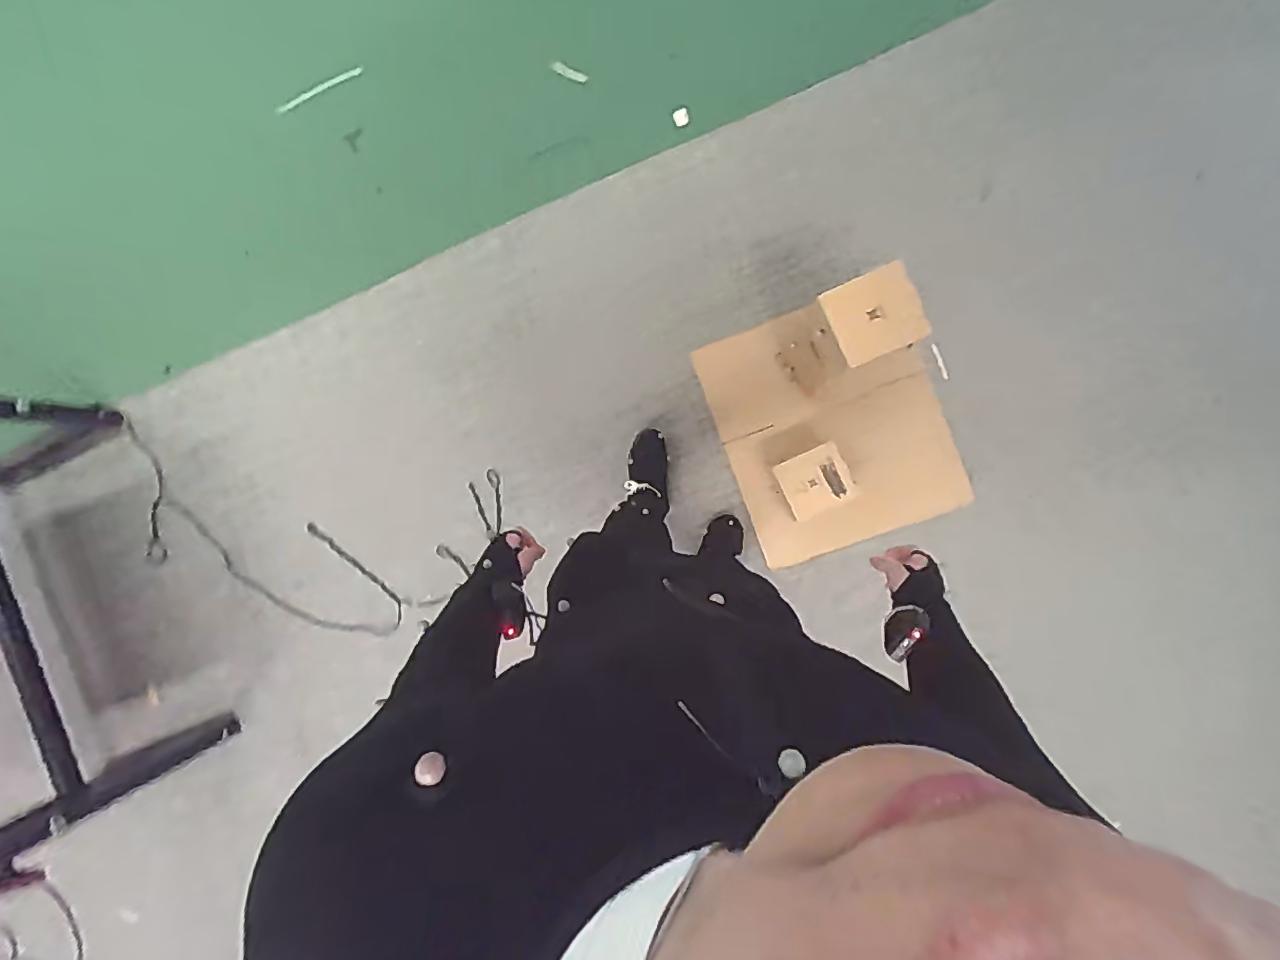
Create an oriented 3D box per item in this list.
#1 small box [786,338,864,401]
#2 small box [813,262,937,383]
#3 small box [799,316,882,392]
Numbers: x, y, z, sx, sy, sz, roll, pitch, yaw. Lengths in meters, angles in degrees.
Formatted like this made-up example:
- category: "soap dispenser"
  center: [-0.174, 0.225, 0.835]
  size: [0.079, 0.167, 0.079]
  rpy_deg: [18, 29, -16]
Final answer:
- category: "small box"
  center: [0.520, -0.330, 1.470]
  size: [0.179, 0.176, 0.168]
  rpy_deg: [-28, 88, 7]
- category: "small box"
  center: [0.482, -0.322, 1.146]
  size: [0.179, 0.176, 0.168]
  rpy_deg: [-24, 87, 6]
- category: "small box"
  center: [0.499, -0.328, 1.307]
  size: [0.179, 0.176, 0.168]
  rpy_deg: [-24, 88, 6]
